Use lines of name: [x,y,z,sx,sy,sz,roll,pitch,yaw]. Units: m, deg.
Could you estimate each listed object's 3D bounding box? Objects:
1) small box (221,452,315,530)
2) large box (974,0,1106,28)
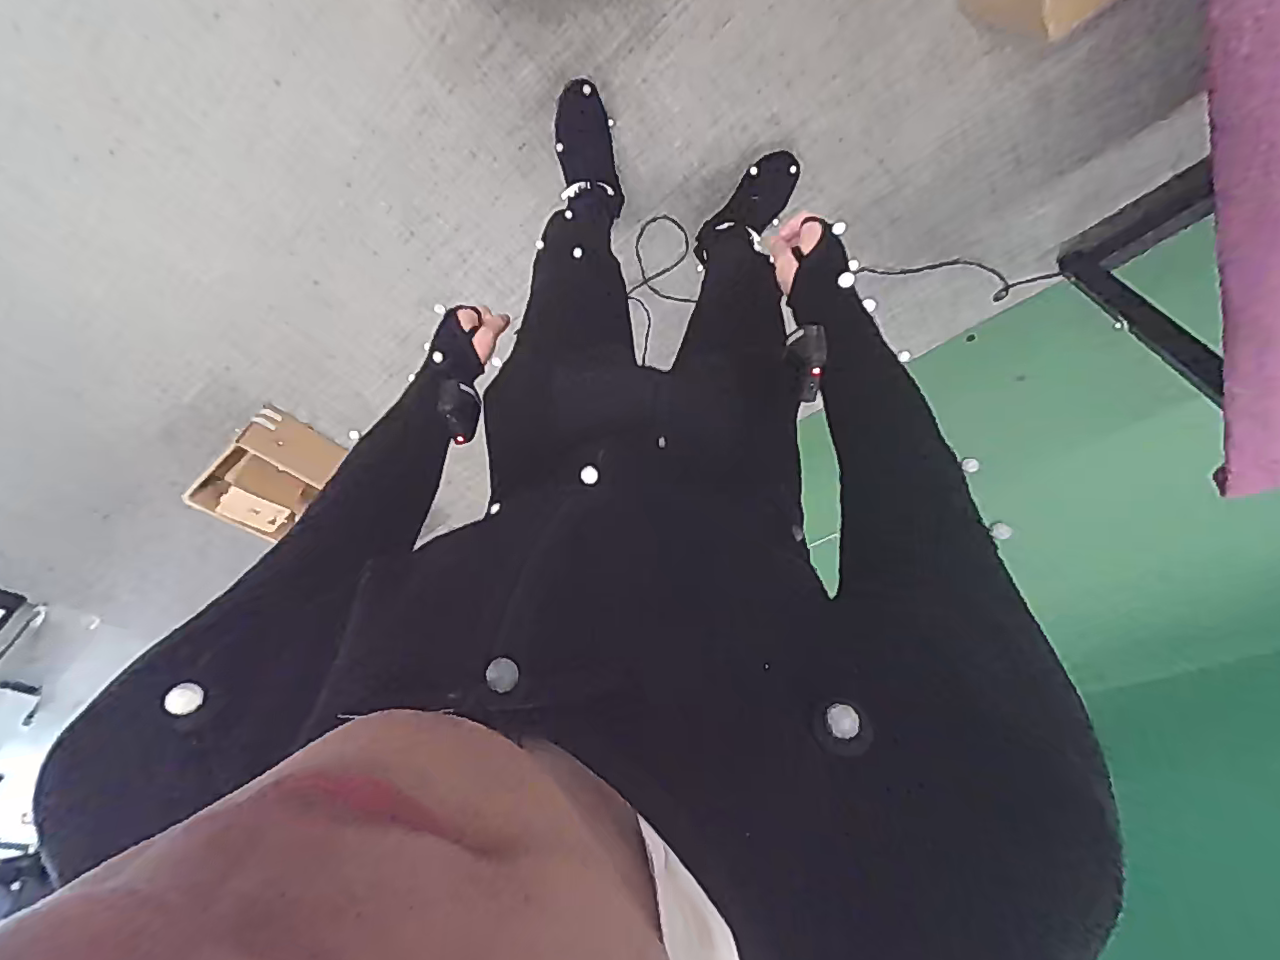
small box: [-1.220,0.031,1.780,0.168,0.176,0.179,-34,128,30]
large box: [0.676,-0.945,0.735,0.408,0.320,0.320,-31,130,27]
